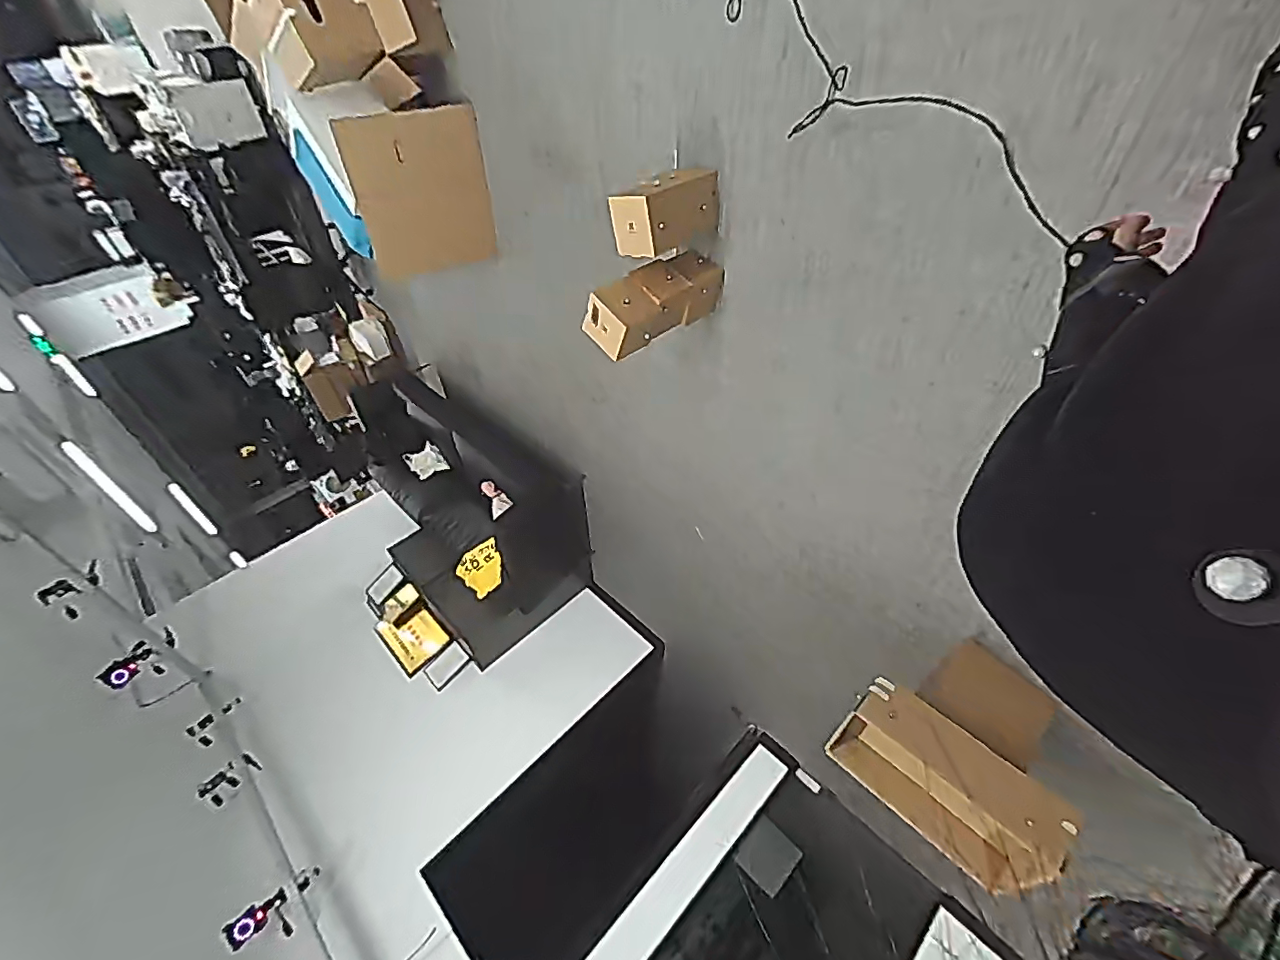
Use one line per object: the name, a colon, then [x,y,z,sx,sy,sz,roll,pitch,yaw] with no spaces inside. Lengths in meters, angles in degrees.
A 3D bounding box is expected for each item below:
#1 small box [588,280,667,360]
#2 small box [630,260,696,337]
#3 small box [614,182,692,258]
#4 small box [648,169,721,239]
small box: [-0.044,-0.534,1.785,0.179,0.176,0.168,47,150,12]
small box: [0.068,-0.622,1.868,0.168,0.176,0.179,45,149,17]
small box: [0.046,-0.815,1.691,0.168,0.176,0.179,25,140,40]
small box: [0.153,-0.909,1.771,0.179,0.176,0.168,30,143,38]
